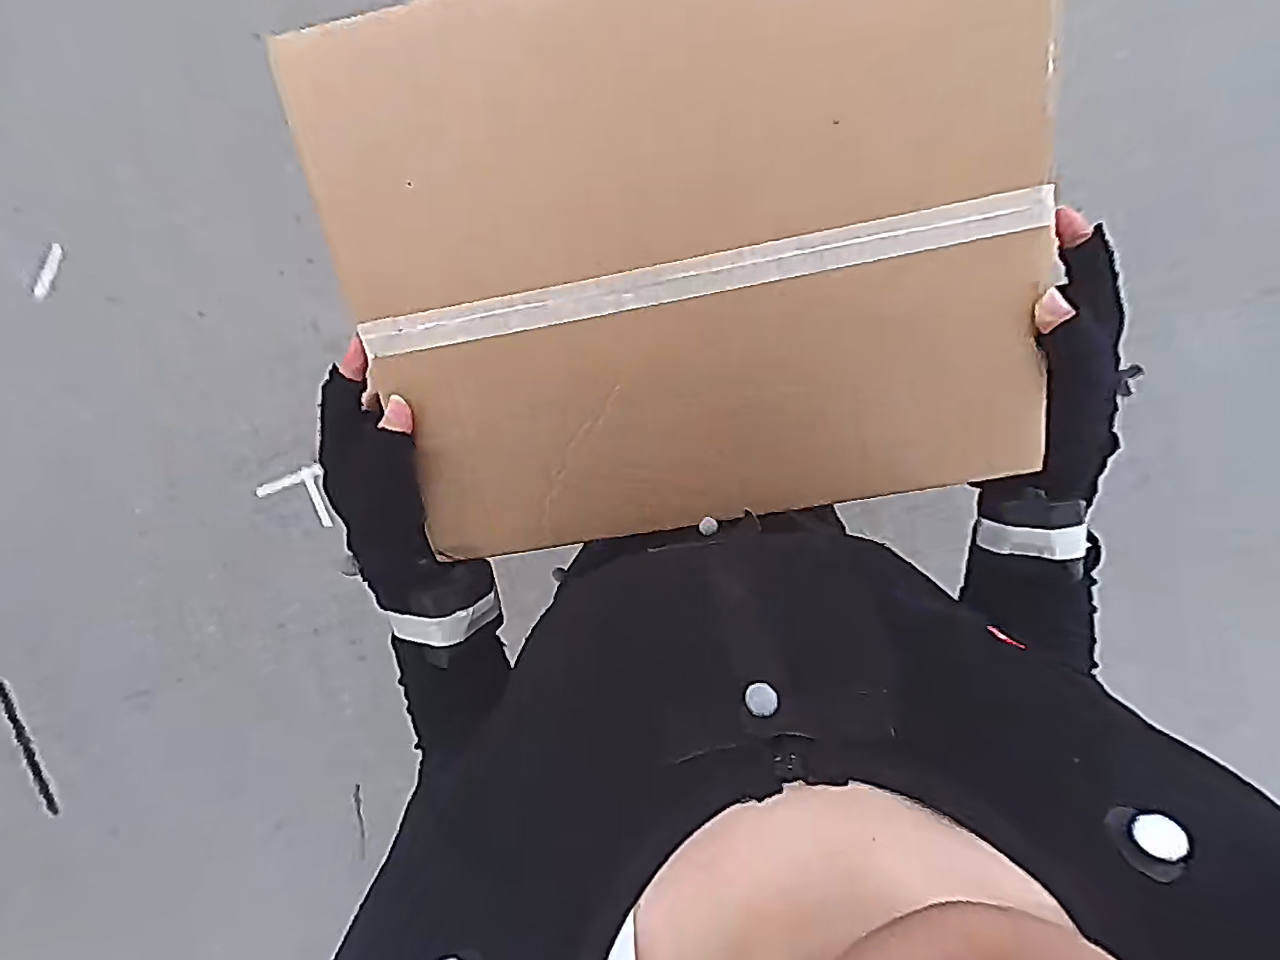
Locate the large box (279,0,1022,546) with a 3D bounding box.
[{"bbox_3d":[0.026,-0.177,0.467,0.408,0.320,0.320,-10,108,5],"label":"large box"}]
